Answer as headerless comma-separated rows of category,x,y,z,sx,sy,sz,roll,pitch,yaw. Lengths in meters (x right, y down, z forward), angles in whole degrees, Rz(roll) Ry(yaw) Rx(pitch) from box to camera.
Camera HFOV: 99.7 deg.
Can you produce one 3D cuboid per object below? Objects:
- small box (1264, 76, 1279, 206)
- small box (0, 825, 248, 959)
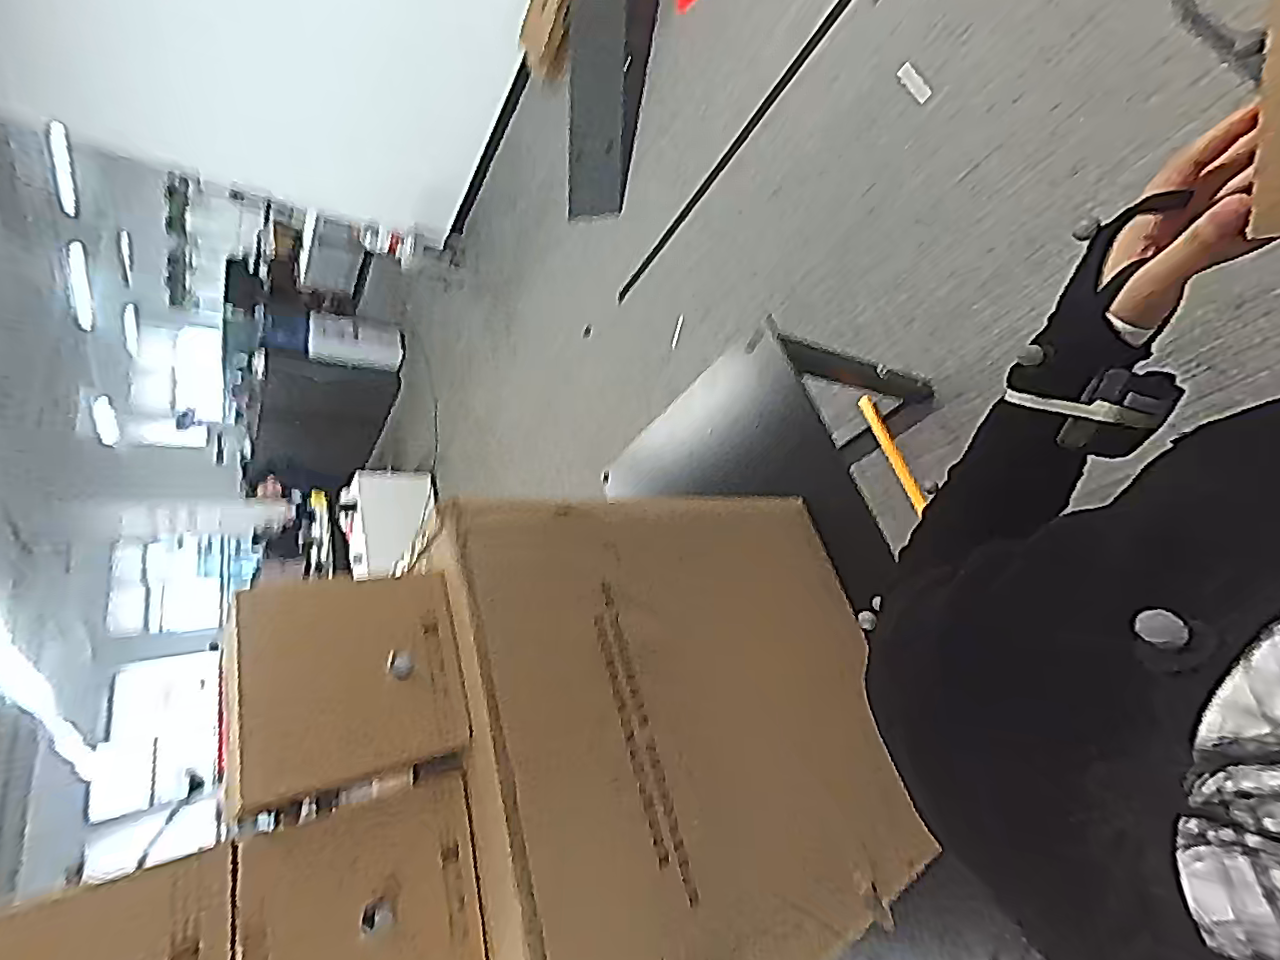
small box,0.405,-0.228,0.224,0.168,0.176,0.179,11,115,54
small box,-0.372,0.353,0.357,0.179,0.176,0.168,-40,60,40
